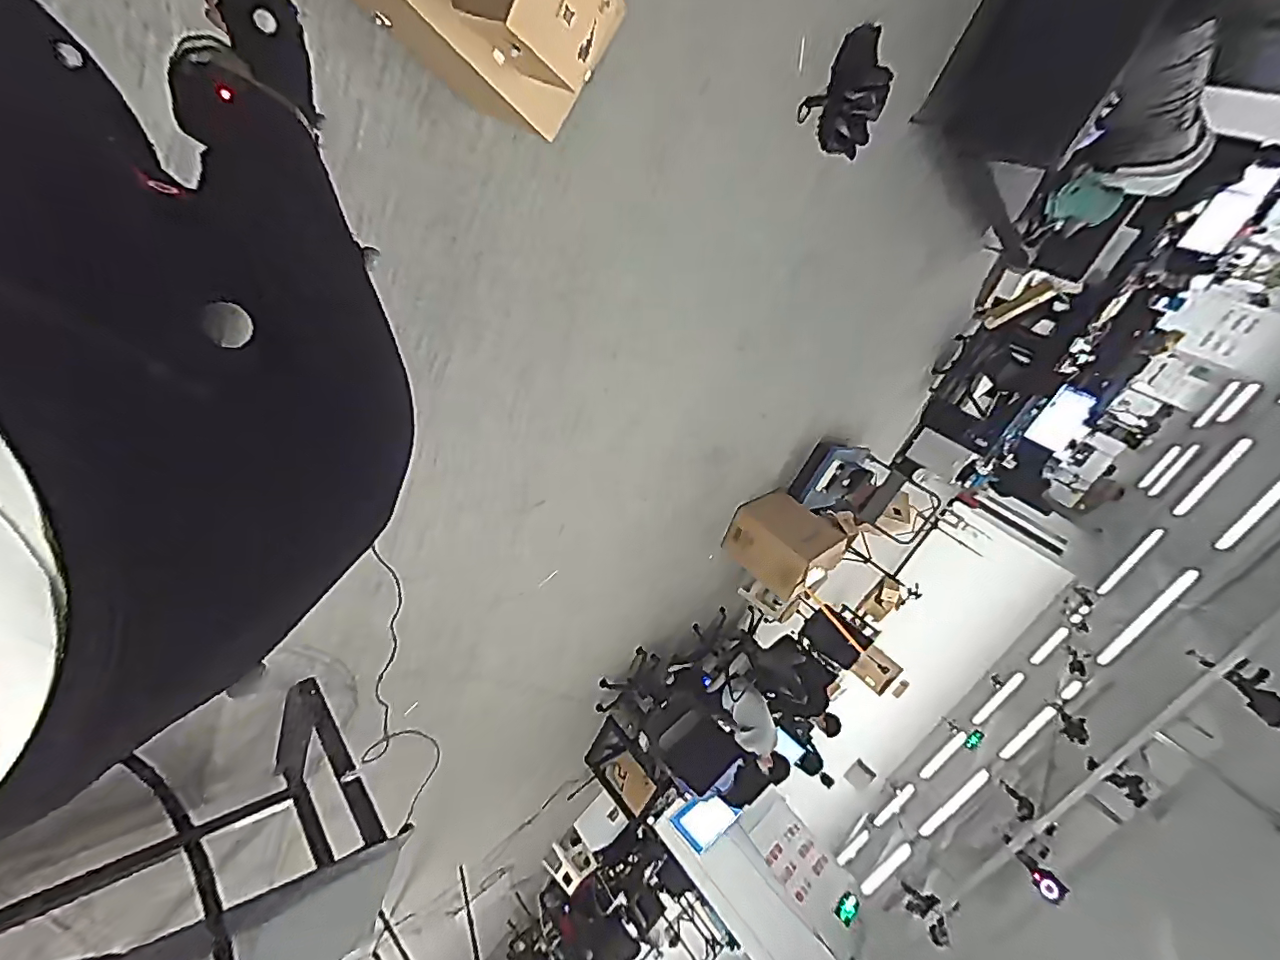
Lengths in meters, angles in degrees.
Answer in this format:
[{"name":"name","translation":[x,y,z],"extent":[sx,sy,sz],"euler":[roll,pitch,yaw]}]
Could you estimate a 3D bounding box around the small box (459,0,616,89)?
[{"name":"small box","translation":[-0.180,-0.824,0.932],"extent":[0.179,0.176,0.168],"euler":[7,119,-54]}]
